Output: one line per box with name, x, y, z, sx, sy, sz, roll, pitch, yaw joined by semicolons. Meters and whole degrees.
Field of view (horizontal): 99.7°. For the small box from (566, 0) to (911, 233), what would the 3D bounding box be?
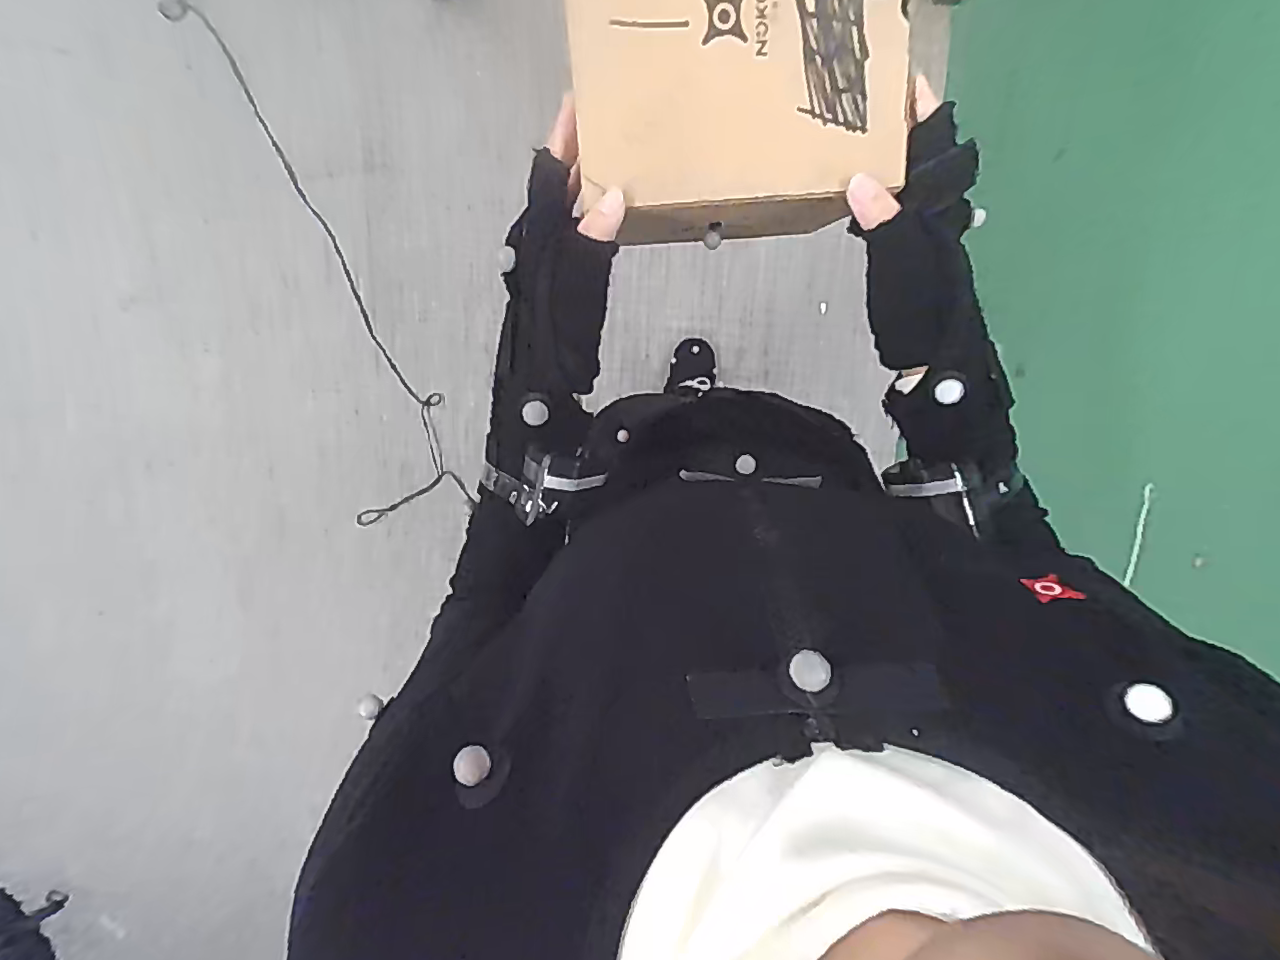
small box;0.049;-0.260;0.346;0.179;0.176;0.168;-4;108;1
